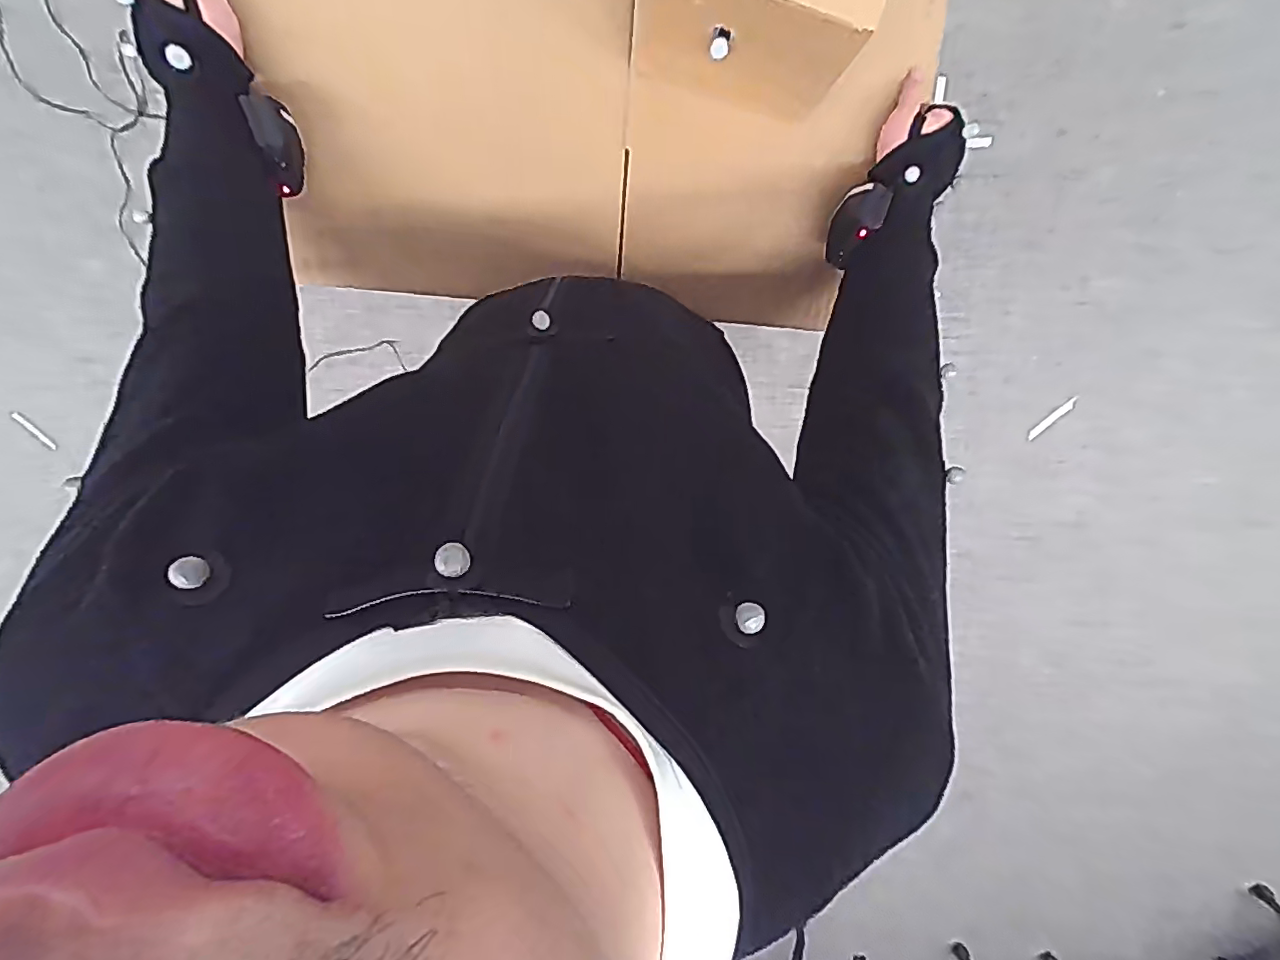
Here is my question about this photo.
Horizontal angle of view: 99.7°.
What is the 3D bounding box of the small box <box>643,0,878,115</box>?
[{"bbox_3d":[0.104,-0.438,0.443,0.179,0.176,0.168,15,104,-4],"label":"small box"}]
